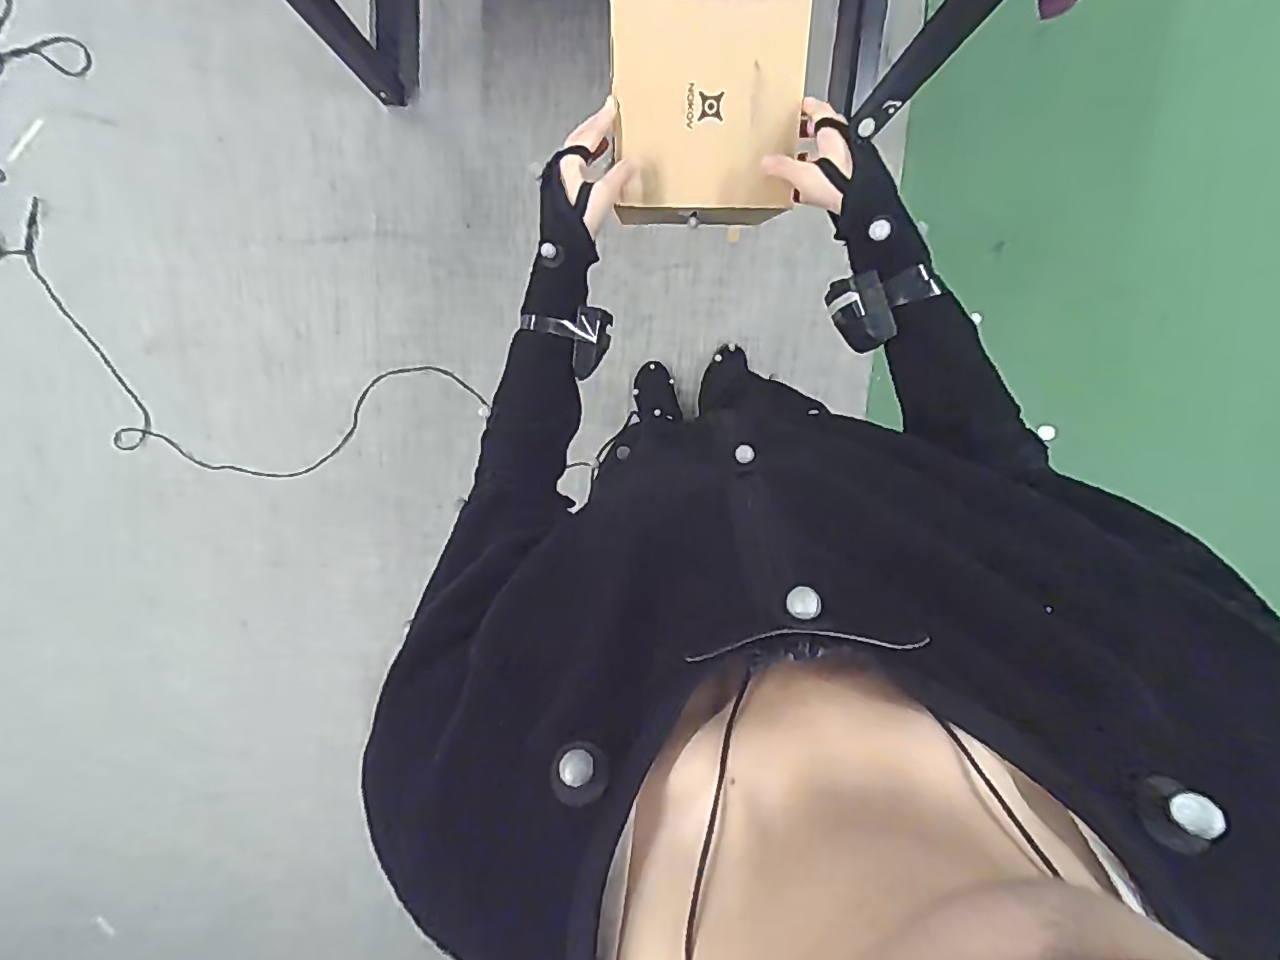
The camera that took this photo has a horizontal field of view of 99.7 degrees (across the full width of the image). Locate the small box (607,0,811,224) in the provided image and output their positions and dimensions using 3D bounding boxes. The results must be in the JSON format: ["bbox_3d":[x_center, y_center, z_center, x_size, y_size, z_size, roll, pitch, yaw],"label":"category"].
[{"bbox_3d":[0.060,-0.368,0.566,0.179,0.176,0.168,2,110,0],"label":"small box"}]
